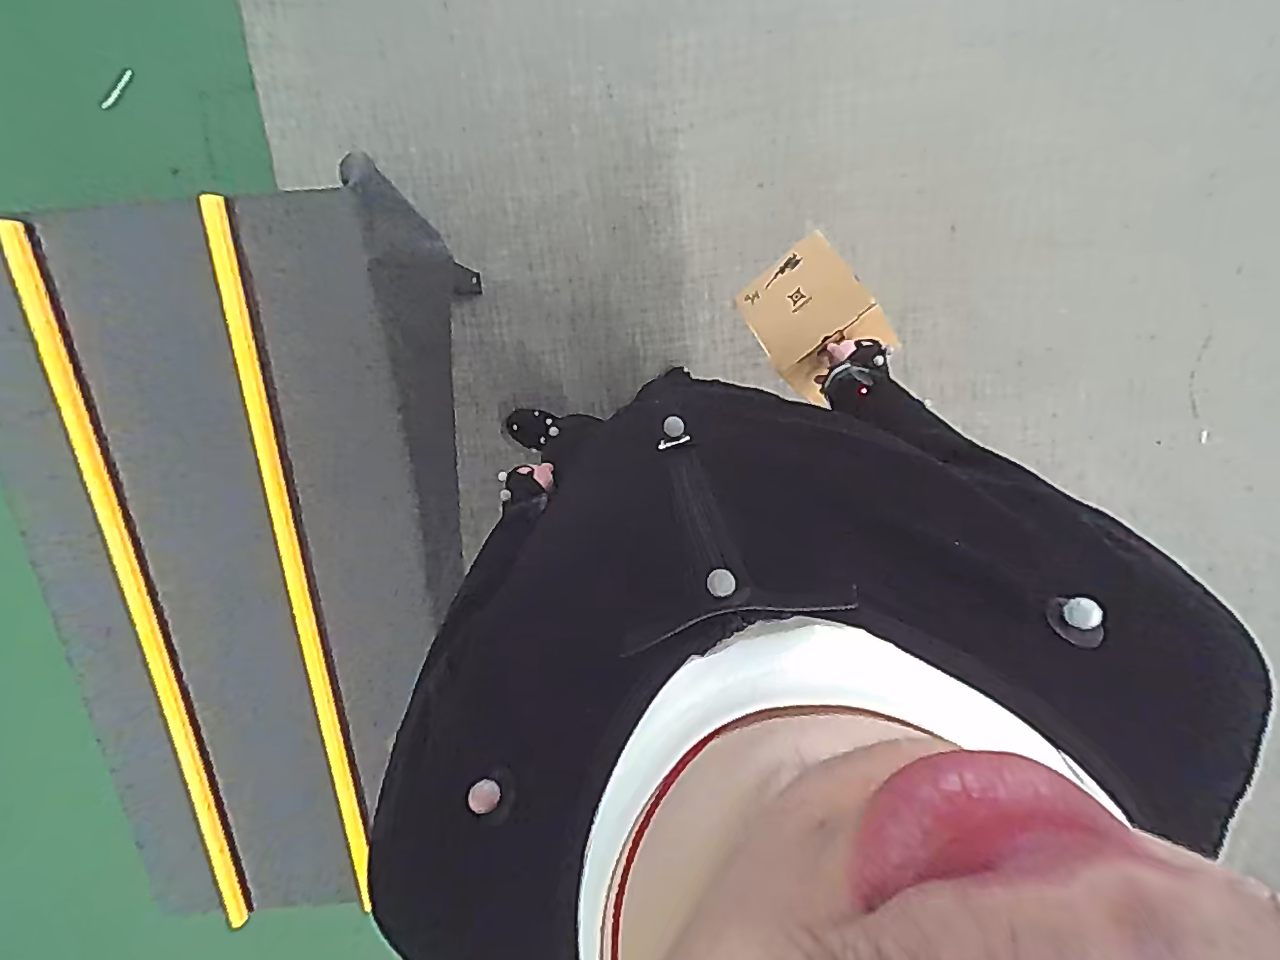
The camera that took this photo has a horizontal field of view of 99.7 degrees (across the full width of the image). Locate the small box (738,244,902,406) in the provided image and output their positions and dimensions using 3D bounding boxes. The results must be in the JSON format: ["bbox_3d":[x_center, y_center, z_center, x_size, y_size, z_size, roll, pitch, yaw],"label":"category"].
[{"bbox_3d":[0.301,-0.242,0.897,0.168,0.176,0.179,-40,57,24],"label":"small box"}]
